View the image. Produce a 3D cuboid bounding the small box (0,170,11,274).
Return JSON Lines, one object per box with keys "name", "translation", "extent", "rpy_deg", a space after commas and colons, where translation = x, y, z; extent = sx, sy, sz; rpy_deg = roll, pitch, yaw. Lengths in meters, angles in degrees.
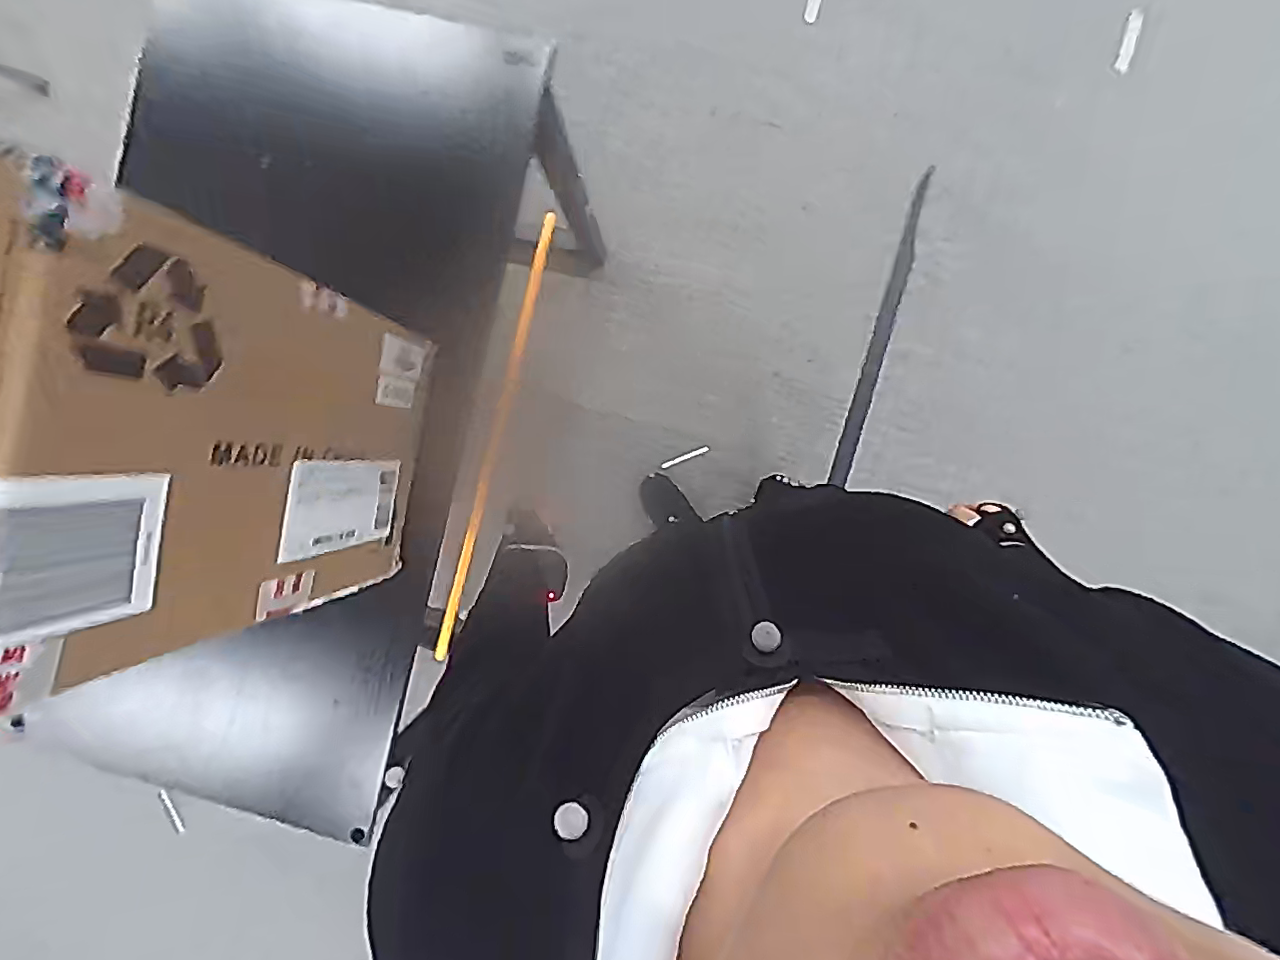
{"name": "small box", "translation": [-0.444, -0.110, 0.229], "extent": [0.168, 0.176, 0.179], "rpy_deg": [11, 92, 1]}
